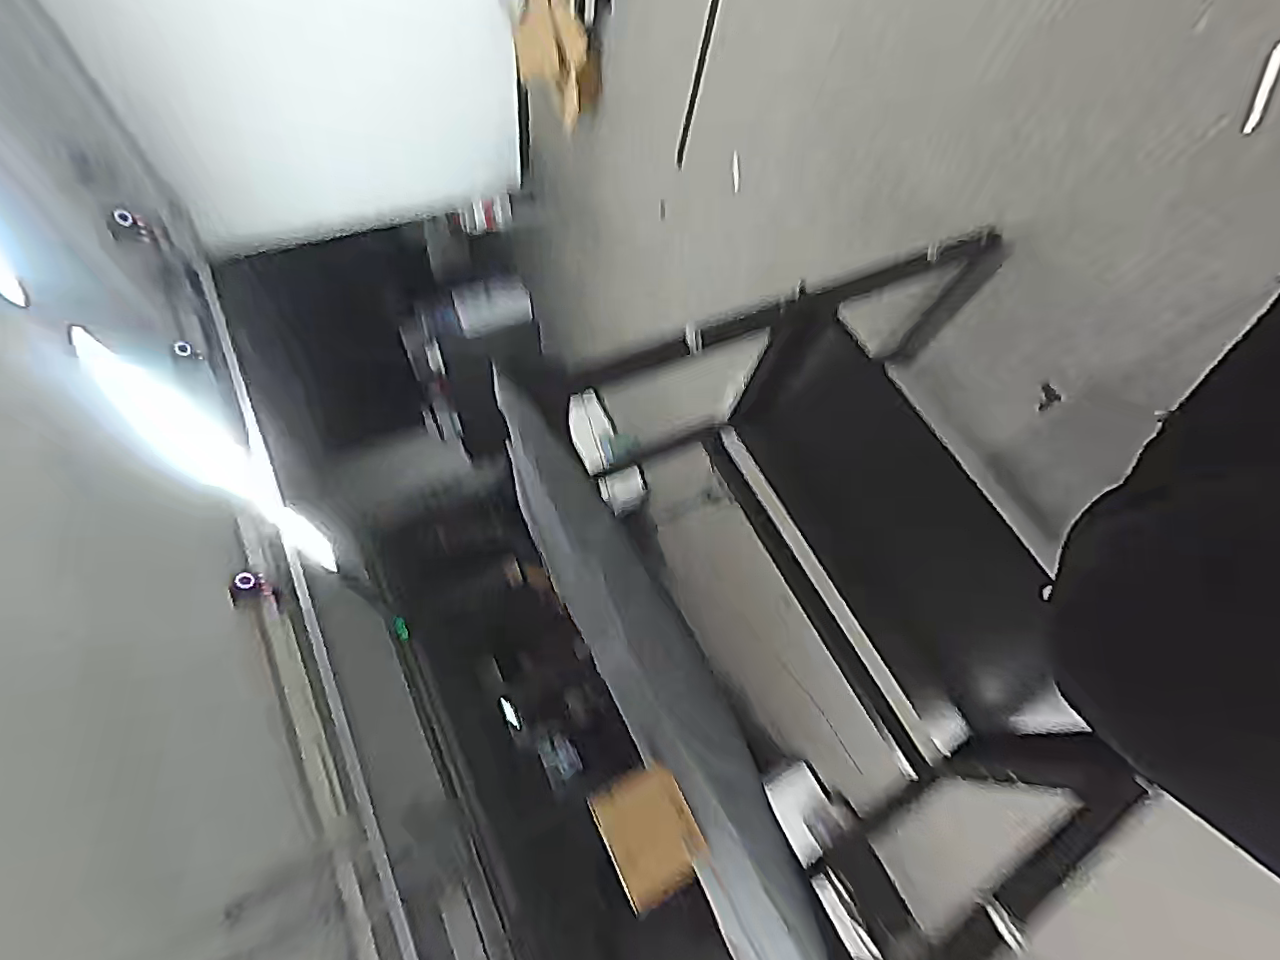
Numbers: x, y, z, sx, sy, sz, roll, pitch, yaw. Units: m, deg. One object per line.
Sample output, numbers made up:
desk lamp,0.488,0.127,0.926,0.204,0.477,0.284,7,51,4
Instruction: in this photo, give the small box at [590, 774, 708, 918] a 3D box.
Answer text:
small box,0.015,0.717,1.085,0.168,0.176,0.179,61,161,18
